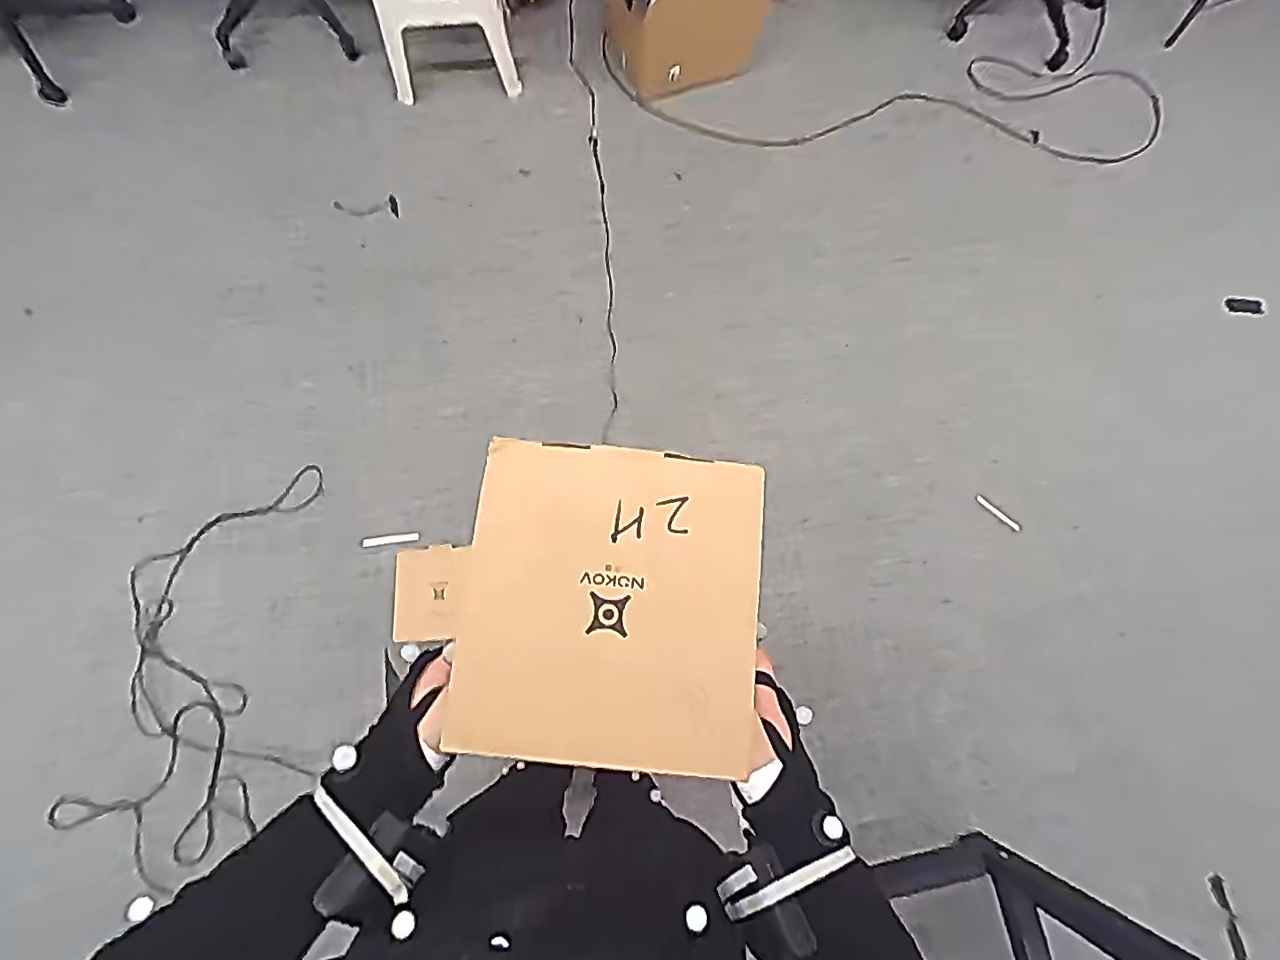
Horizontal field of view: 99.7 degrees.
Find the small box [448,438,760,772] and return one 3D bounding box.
[{"bbox_3d":[-0.018,0.084,0.390,0.168,0.176,0.179,6,76,-1],"label":"small box"}]

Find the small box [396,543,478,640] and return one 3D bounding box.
[{"bbox_3d":[-0.382,0.230,1.106,0.168,0.176,0.179,-3,77,-4],"label":"small box"}]
